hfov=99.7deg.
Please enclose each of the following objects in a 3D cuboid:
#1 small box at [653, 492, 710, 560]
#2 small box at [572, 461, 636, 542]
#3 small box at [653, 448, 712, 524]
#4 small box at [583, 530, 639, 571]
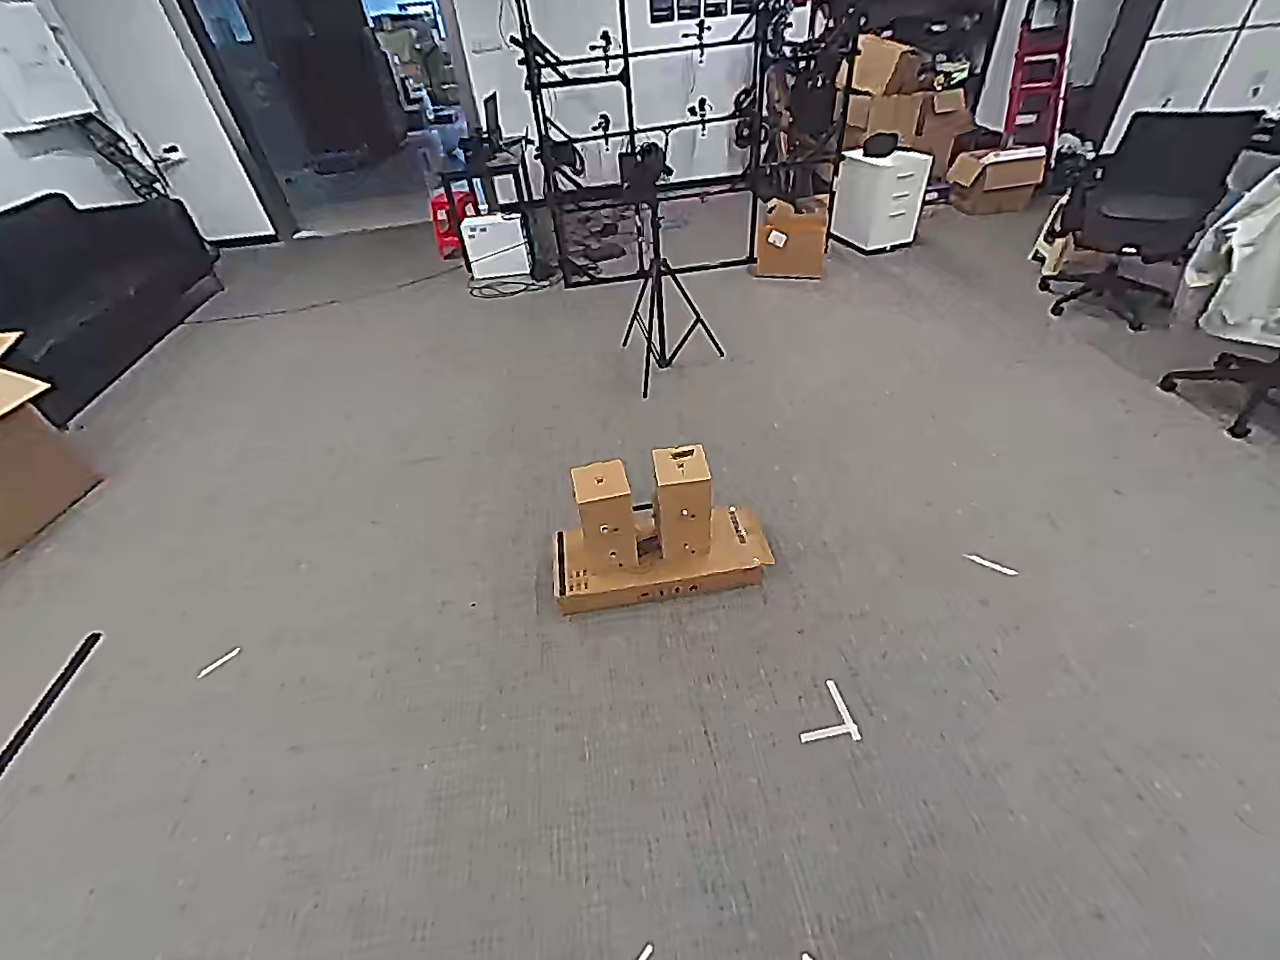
[{"bbox_3d":[0.140,0.147,1.852,0.168,0.176,0.179,-10,40,-4],"label":"small box"},{"bbox_3d":[-0.116,0.068,1.723,0.168,0.176,0.179,-13,41,-7],"label":"small box"},{"bbox_3d":[0.135,0.020,1.749,0.168,0.176,0.179,-7,40,-1],"label":"small box"},{"bbox_3d":[-0.103,0.191,1.831,0.168,0.176,0.179,-10,41,-5],"label":"small box"}]
